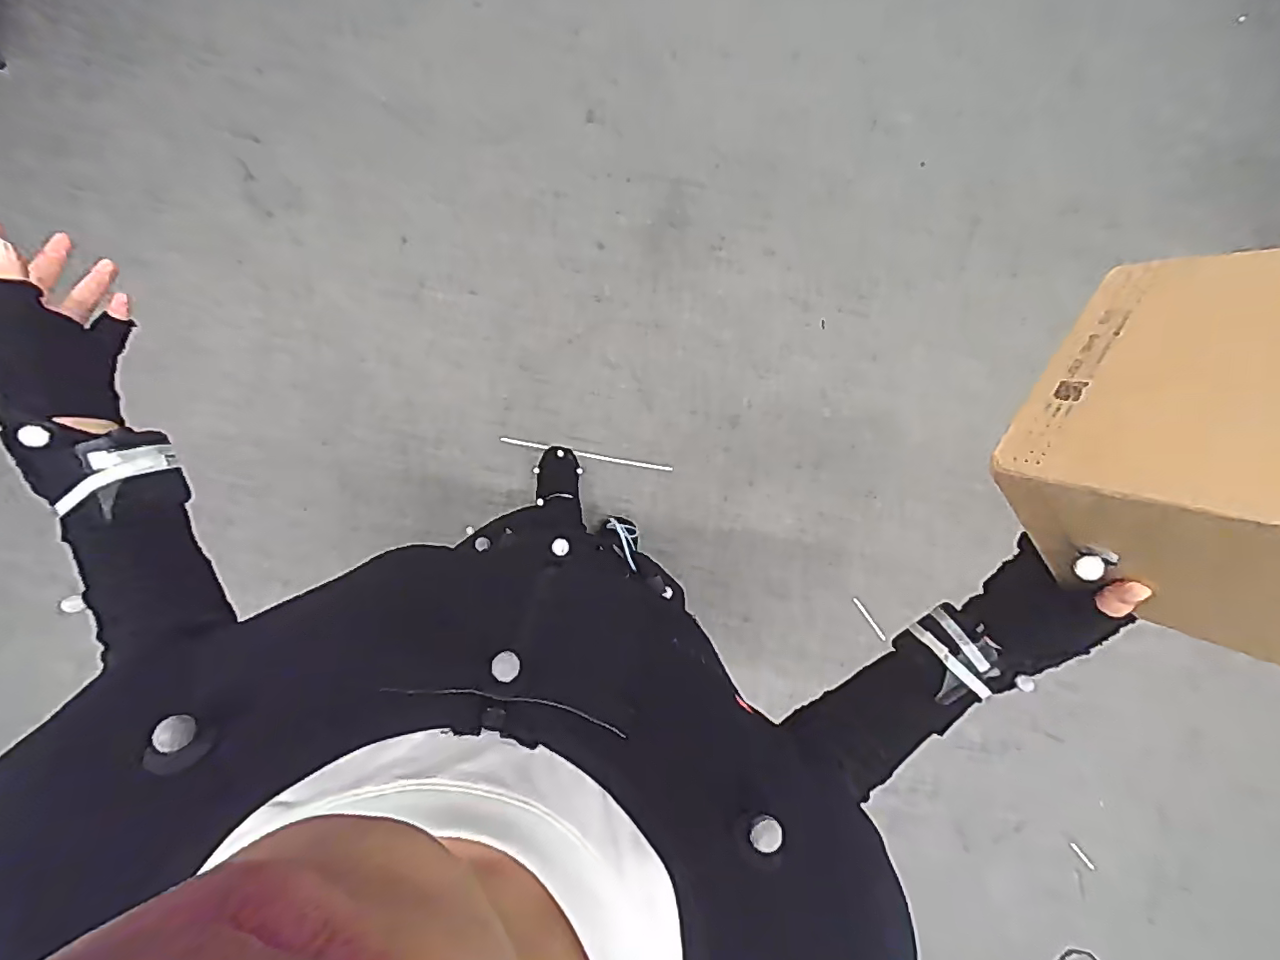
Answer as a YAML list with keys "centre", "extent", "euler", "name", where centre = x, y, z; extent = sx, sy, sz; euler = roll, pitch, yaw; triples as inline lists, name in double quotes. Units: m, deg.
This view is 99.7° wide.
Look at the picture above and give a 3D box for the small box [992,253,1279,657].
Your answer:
- centre: [0.352, -0.015, 0.316]
  extent: [0.179, 0.176, 0.168]
  euler: [39, 83, -31]
  name: "small box"
